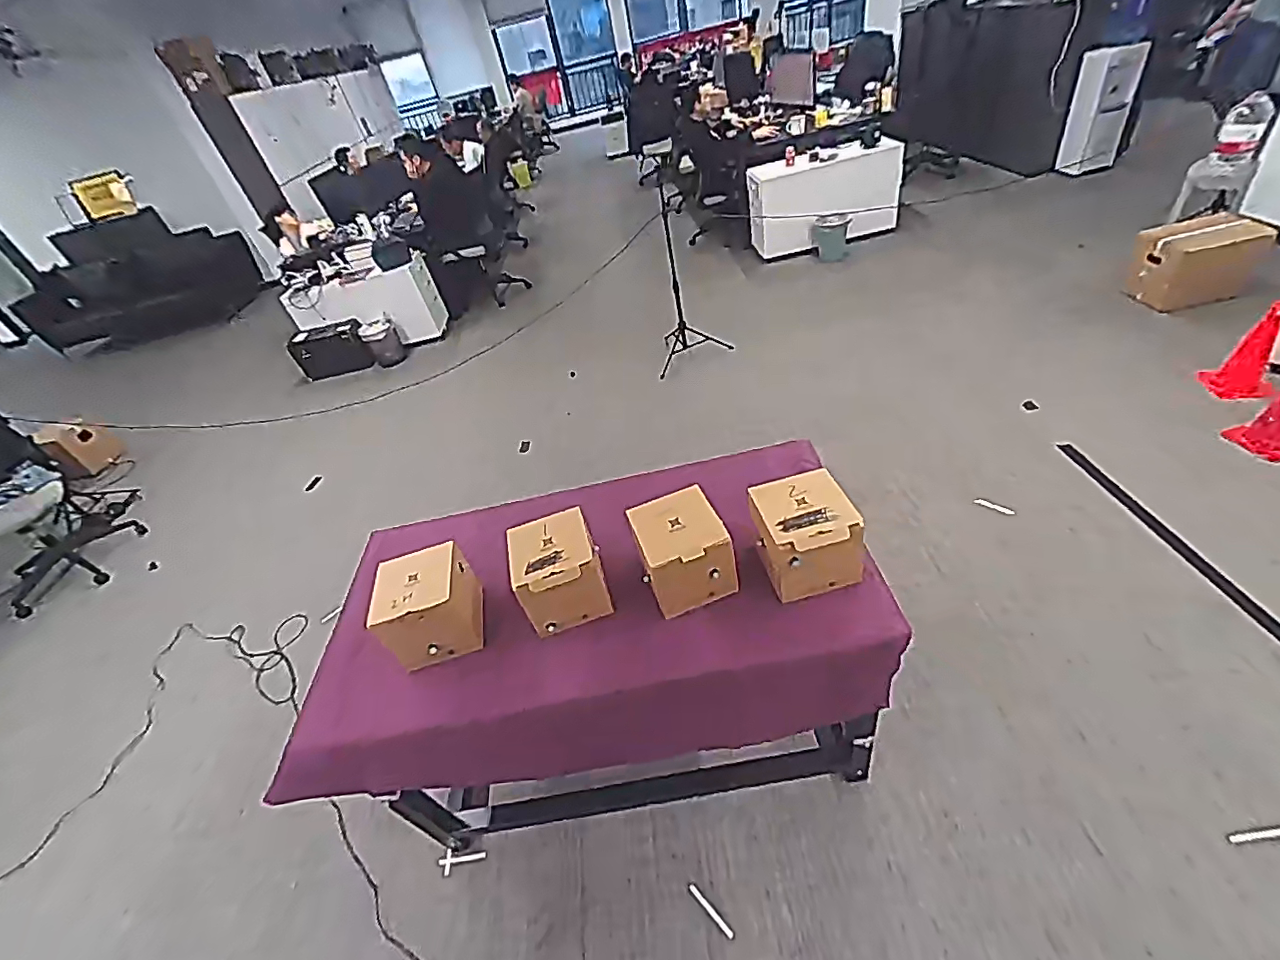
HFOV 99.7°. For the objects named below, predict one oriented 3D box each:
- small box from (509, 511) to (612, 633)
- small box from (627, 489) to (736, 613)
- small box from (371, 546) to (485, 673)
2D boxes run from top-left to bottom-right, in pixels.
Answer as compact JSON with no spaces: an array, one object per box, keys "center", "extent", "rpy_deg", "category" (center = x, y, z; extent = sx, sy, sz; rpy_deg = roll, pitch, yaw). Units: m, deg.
[{"center":[-0.168,0.202,1.154],"extent":[0.168,0.176,0.179],"rpy_deg":[-19,39,-4],"category":"small box"},{"center":[0.089,0.154,1.128],"extent":[0.168,0.176,0.179],"rpy_deg":[-20,39,-6],"category":"small box"},{"center":[-0.441,0.276,1.155],"extent":[0.168,0.176,0.179],"rpy_deg":[-18,40,-2],"category":"small box"}]
